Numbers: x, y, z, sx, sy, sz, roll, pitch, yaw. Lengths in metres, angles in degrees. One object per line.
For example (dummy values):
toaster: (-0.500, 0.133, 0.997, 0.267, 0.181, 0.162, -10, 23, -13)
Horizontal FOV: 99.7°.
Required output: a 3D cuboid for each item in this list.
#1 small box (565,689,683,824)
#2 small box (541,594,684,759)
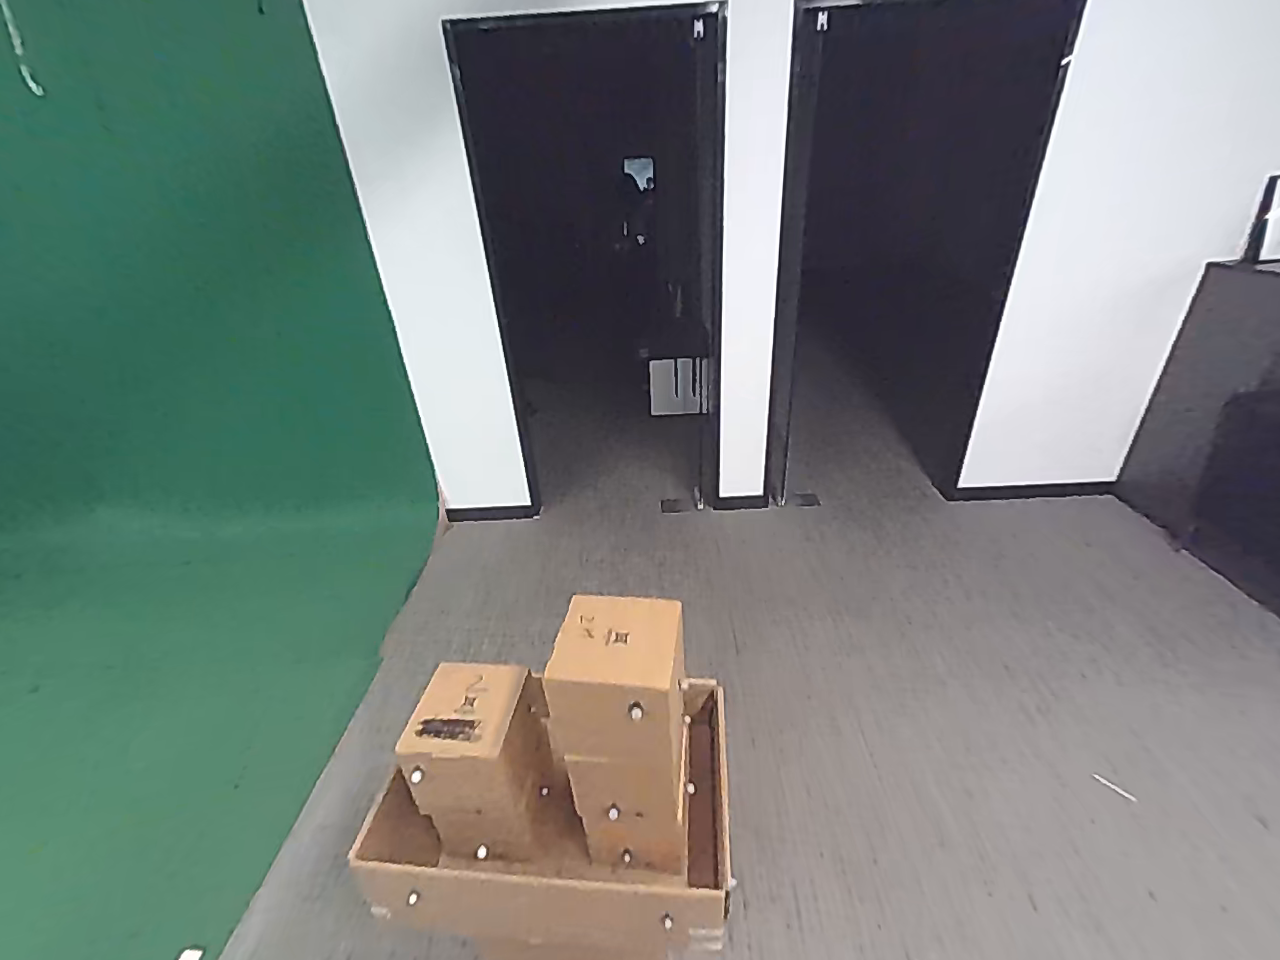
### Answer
small box: (-0.016, 0.434, 0.904, 0.168, 0.176, 0.179, 0, 31, 9)
small box: (-0.029, 0.294, 0.817, 0.179, 0.176, 0.168, 0, 30, 11)
